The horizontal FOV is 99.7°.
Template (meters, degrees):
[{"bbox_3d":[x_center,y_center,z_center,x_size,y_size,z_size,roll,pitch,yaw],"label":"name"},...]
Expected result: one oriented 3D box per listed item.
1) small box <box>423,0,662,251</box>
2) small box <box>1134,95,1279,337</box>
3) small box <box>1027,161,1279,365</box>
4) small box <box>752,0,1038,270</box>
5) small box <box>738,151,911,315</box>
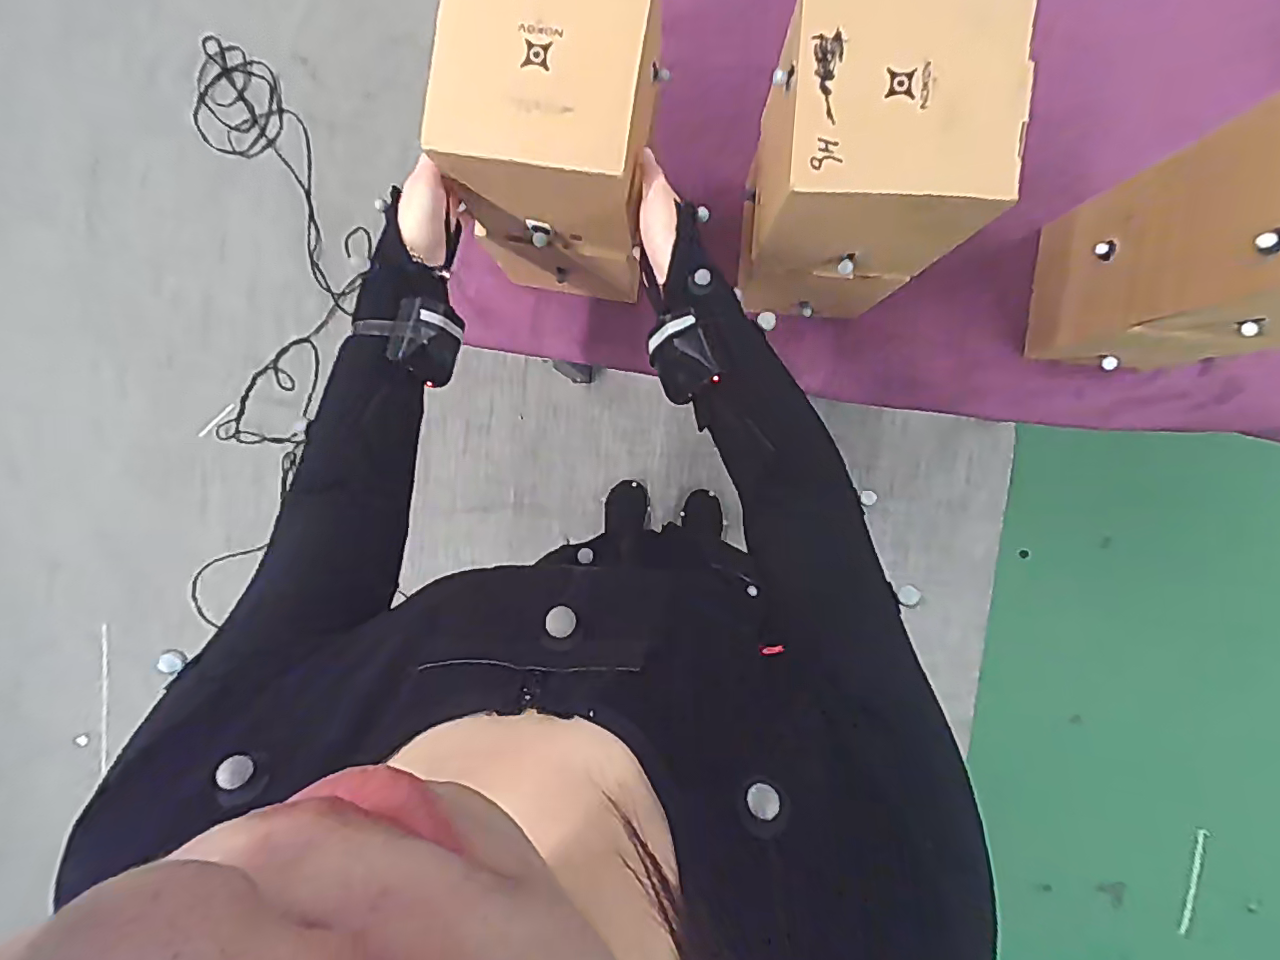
[{"bbox_3d":[-0.074,-0.340,0.499,0.168,0.176,0.179,9,93,2],"label":"small box"},{"bbox_3d":[0.601,-0.239,0.485,0.168,0.176,0.179,5,94,2],"label":"small box"},{"bbox_3d":[0.605,-0.245,0.647,0.168,0.176,0.179,6,94,2],"label":"small box"},{"bbox_3d":[0.209,-0.302,0.491,0.179,0.176,0.168,4,92,1],"label":"small box"},{"bbox_3d":[0.217,-0.313,0.655,0.168,0.176,0.179,4,93,2],"label":"small box"}]
